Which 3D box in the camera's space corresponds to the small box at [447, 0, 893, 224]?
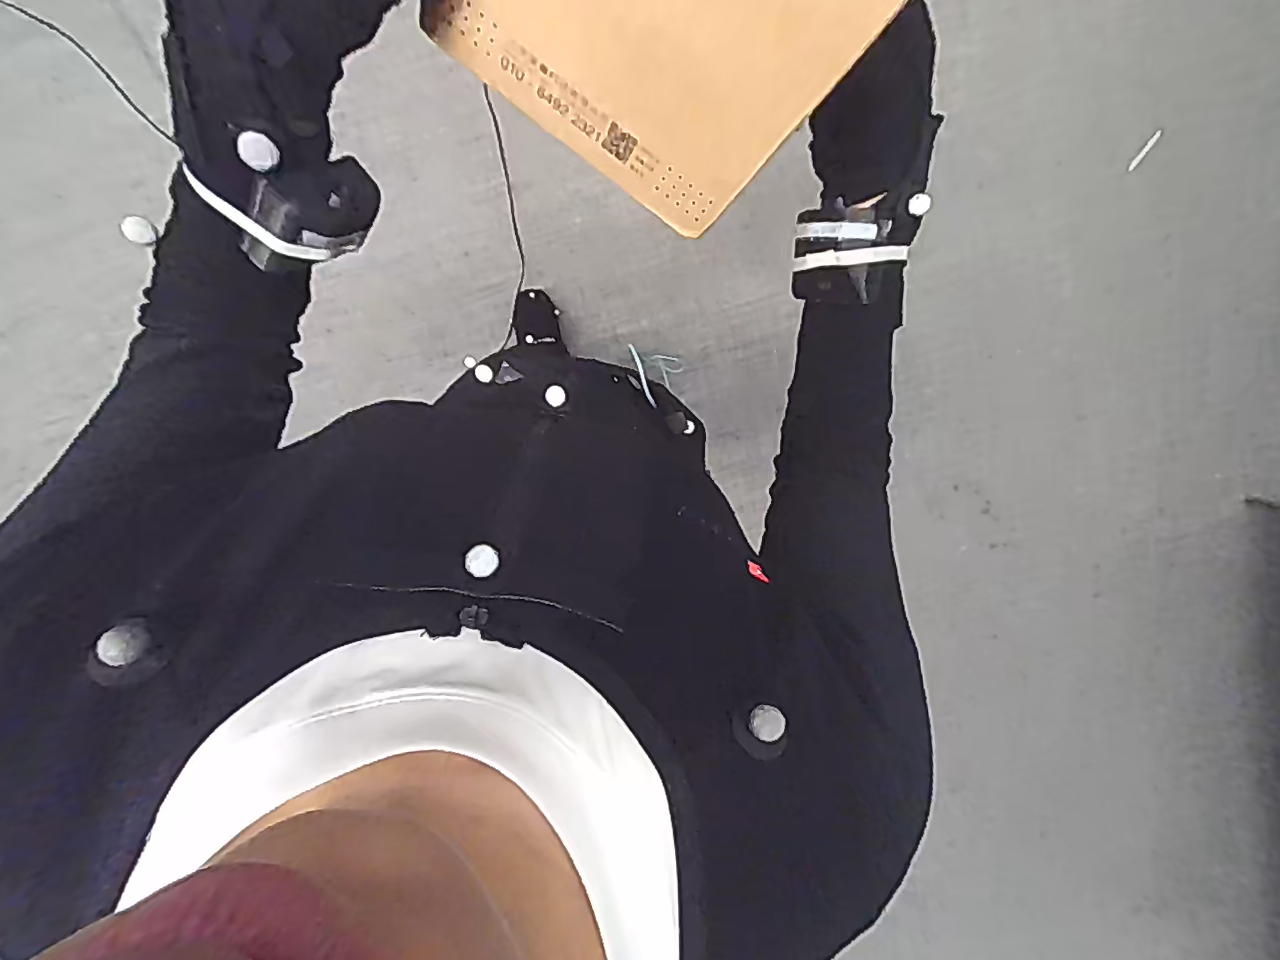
[{"bbox_3d":[0.031,-0.269,0.252,0.168,0.176,0.179,31,61,-17],"label":"small box"}]
